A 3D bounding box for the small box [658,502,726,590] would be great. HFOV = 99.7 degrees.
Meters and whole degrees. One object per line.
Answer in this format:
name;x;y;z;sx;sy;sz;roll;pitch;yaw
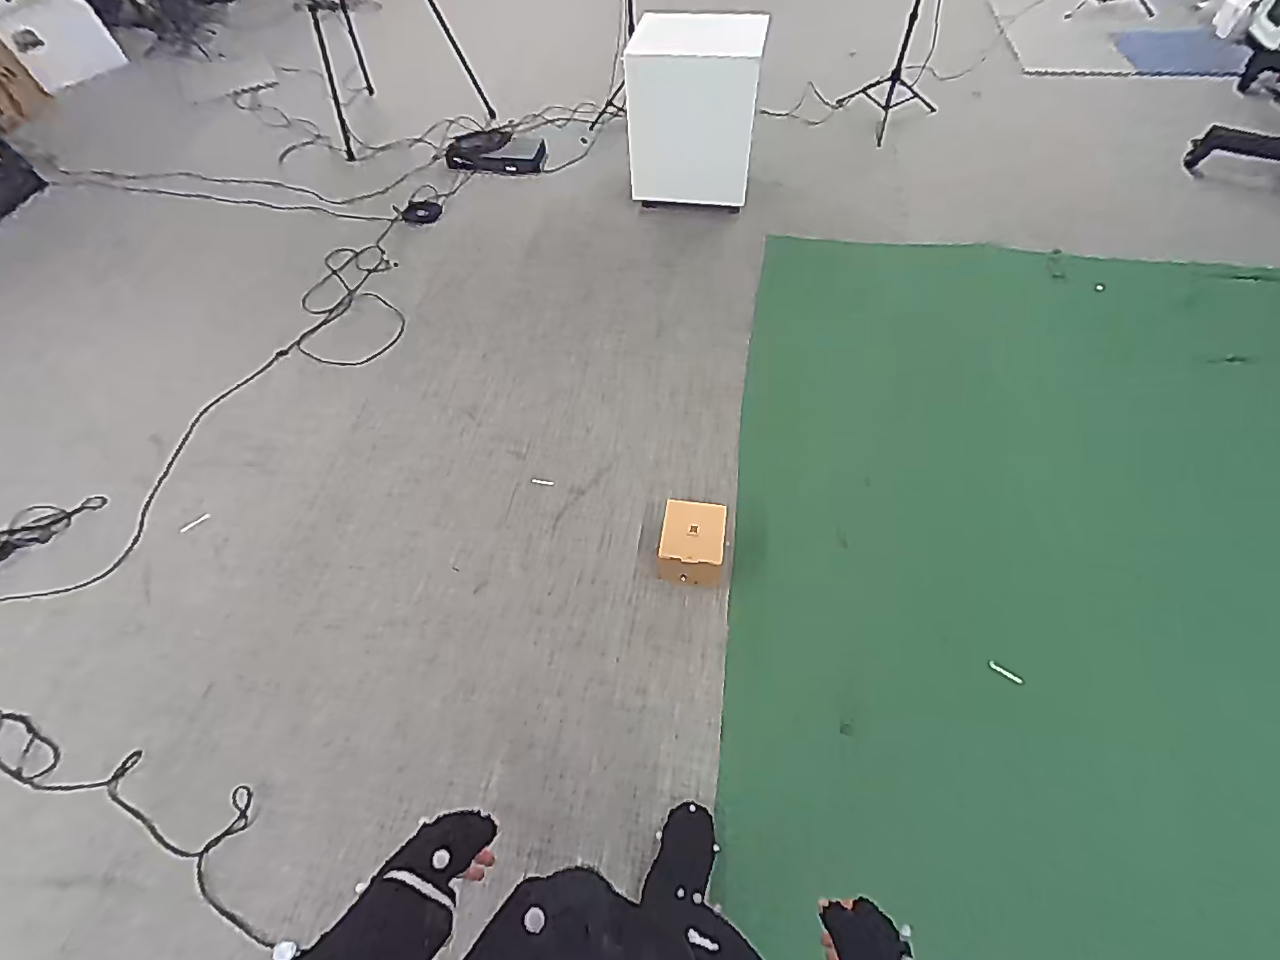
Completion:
small box;0.143;0.185;1.494;0.168;0.176;0.179;6;58;7
